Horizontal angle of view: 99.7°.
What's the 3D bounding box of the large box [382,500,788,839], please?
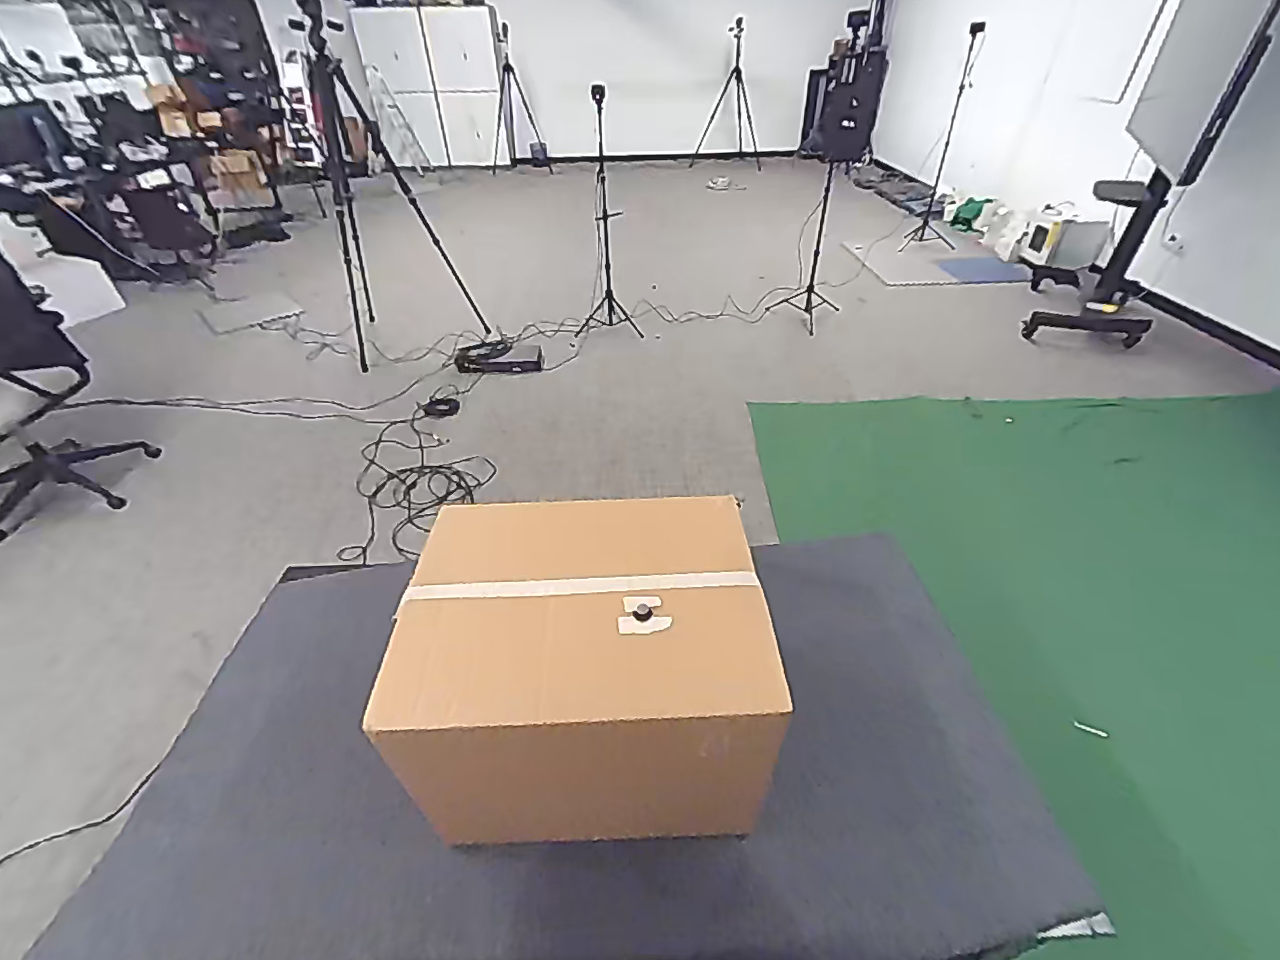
[{"bbox_3d":[-0.058,0.247,0.729,0.408,0.320,0.320,-2,40,-1],"label":"large box"}]
